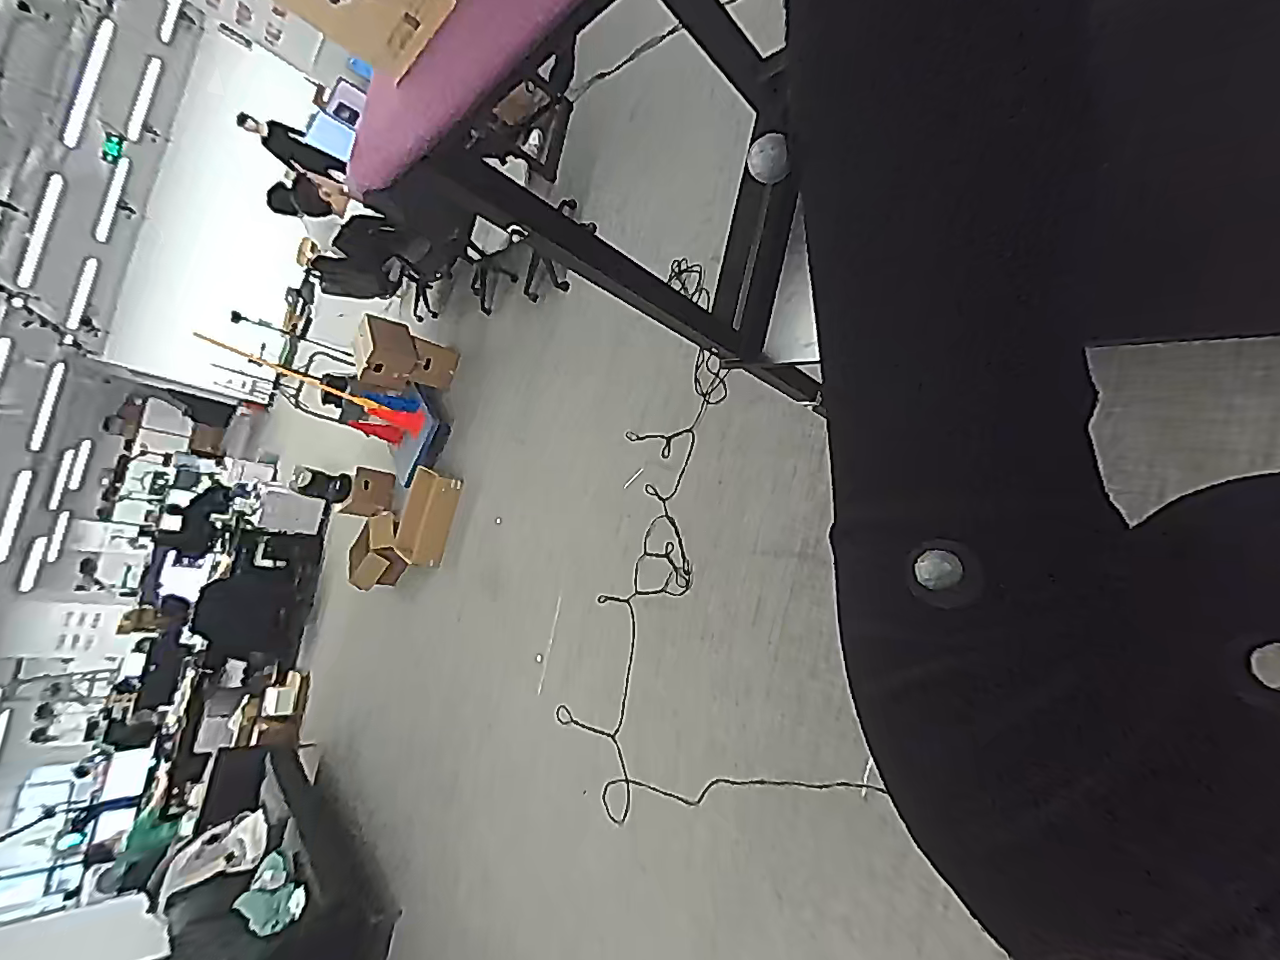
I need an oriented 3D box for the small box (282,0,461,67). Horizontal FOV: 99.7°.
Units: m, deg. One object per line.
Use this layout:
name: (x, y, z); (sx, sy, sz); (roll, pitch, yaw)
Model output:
small box: (-0.246, -0.519, 0.480); (0.168, 0.176, 0.179); (8, 84, 47)
